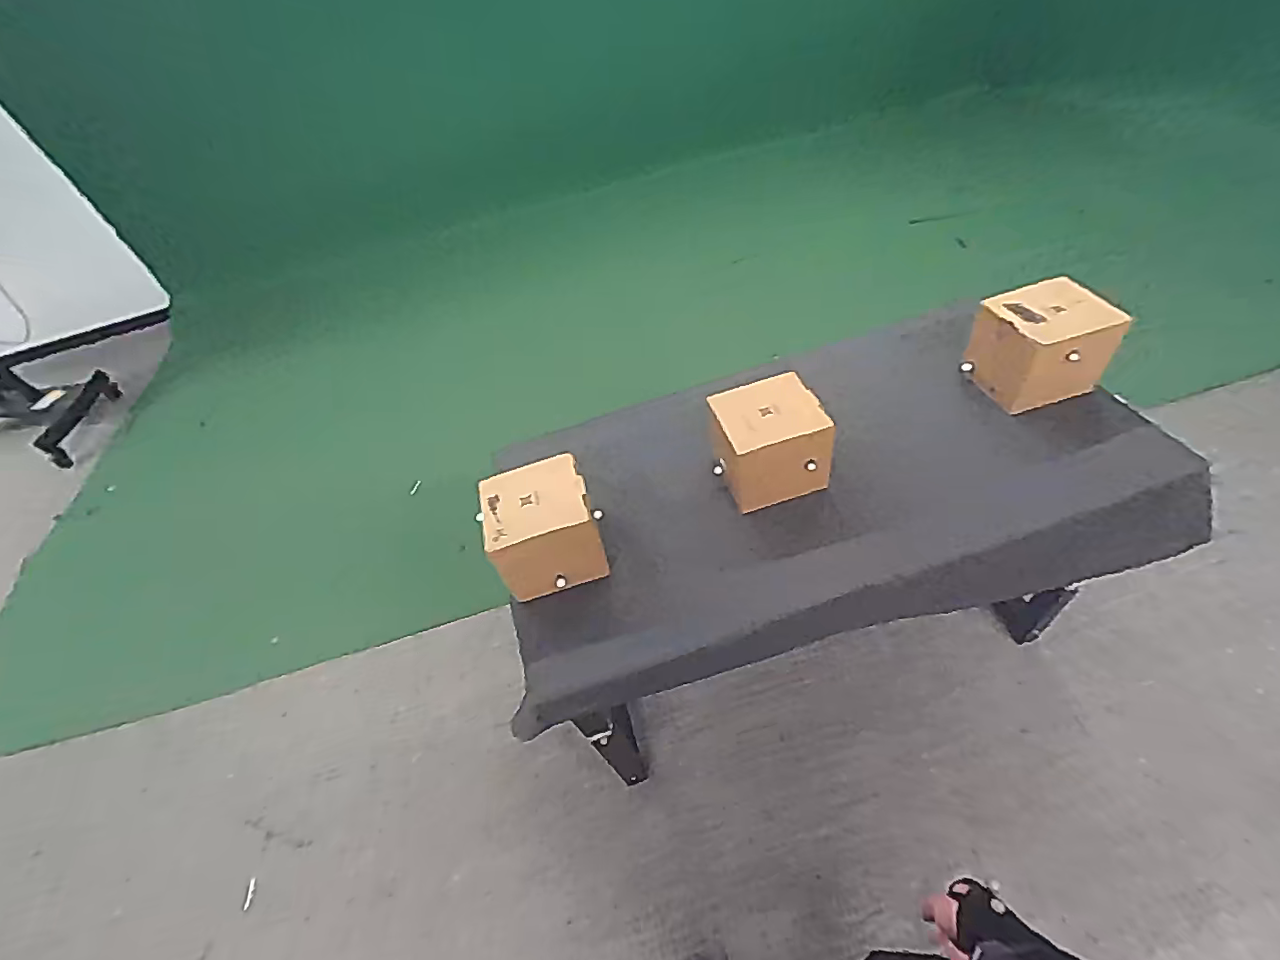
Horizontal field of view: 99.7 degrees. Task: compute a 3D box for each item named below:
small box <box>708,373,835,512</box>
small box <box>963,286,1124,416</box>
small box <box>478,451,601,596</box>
[{"bbox_3d":[0.238,-0.068,1.014,0.179,0.176,0.168,-17,47,-3],"label":"small box"},{"bbox_3d":[0.772,-0.249,1.065,0.179,0.176,0.168,-15,48,-3],"label":"small box"},{"bbox_3d":[-0.172,0.079,0.959,0.179,0.176,0.168,-16,47,-5],"label":"small box"}]
